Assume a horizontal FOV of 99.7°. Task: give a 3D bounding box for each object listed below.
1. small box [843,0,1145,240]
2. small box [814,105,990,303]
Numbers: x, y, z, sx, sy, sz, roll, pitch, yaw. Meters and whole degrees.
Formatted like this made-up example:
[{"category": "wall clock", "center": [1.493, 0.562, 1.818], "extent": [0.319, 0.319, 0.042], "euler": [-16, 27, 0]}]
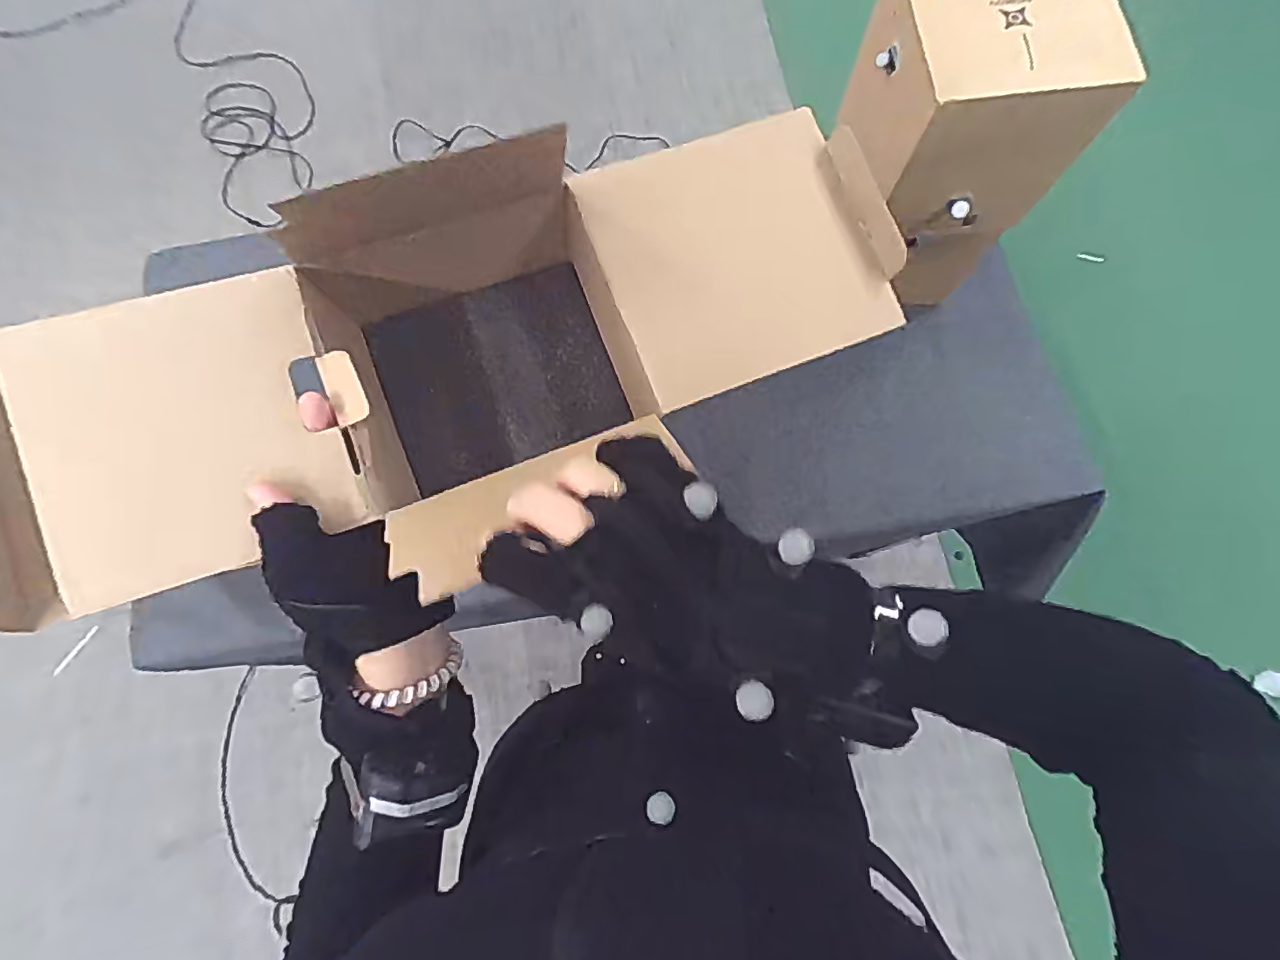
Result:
[{"category": "small box", "center": [0.313, -0.367, 0.524], "extent": [0.168, 0.176, 0.179], "euler": [-5, 76, 2]}, {"category": "small box", "center": [0.327, -0.342, 0.687], "extent": [0.179, 0.176, 0.168], "euler": [1, 75, 3]}]
